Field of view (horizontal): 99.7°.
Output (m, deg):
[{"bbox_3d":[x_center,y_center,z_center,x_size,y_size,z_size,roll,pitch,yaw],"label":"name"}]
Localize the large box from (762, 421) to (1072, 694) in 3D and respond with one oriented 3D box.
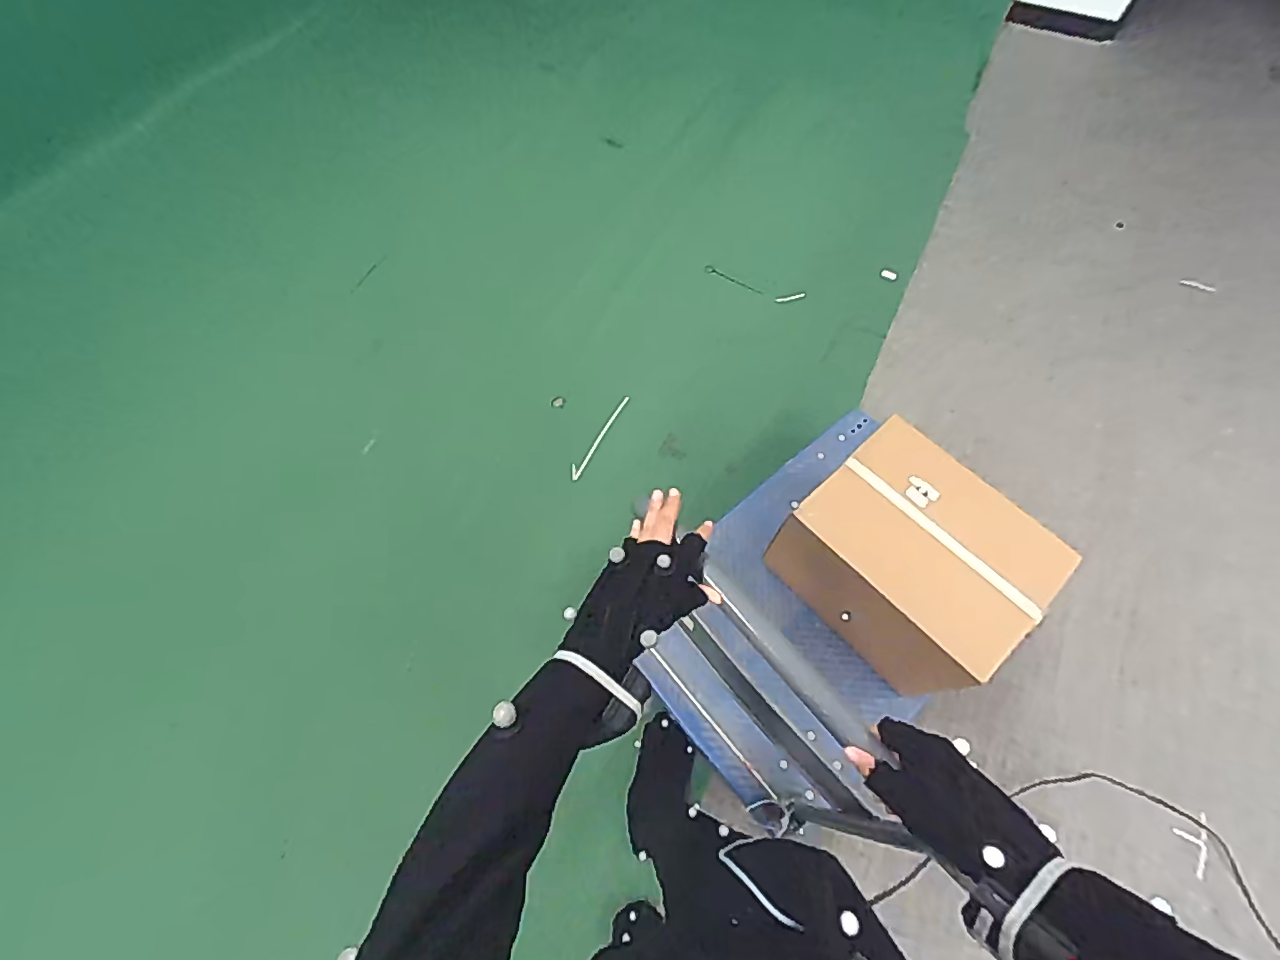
[{"bbox_3d":[0.517,0.166,1.101,0.320,0.320,0.408,-39,69,-16],"label":"large box"}]
